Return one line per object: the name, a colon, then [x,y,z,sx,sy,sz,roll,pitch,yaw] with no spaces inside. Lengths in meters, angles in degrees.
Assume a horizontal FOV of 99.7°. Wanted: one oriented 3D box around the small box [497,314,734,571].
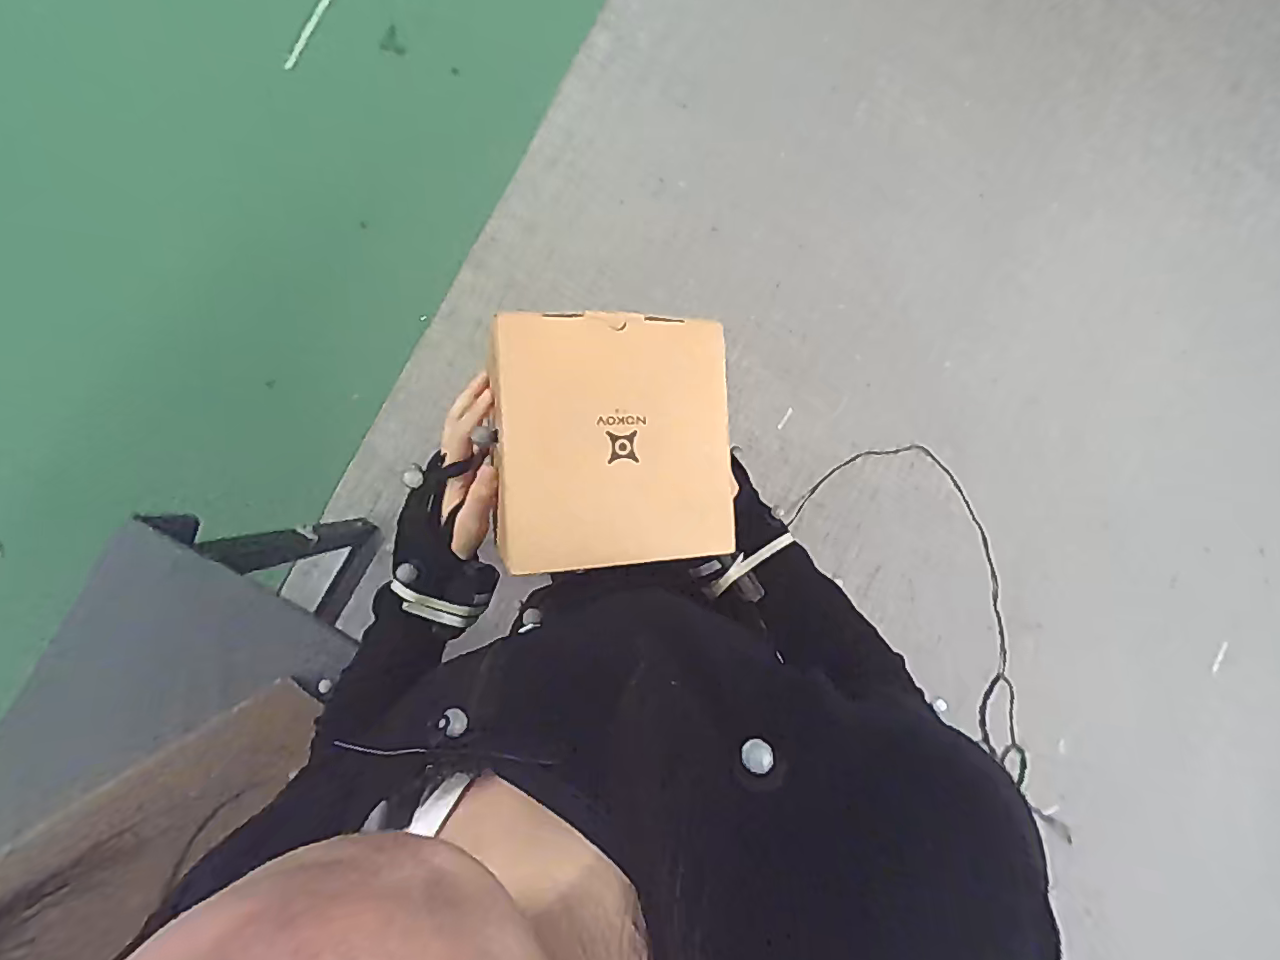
small box: [-0.033,-0.026,0.462,0.168,0.176,0.179,-2,89,-18]
